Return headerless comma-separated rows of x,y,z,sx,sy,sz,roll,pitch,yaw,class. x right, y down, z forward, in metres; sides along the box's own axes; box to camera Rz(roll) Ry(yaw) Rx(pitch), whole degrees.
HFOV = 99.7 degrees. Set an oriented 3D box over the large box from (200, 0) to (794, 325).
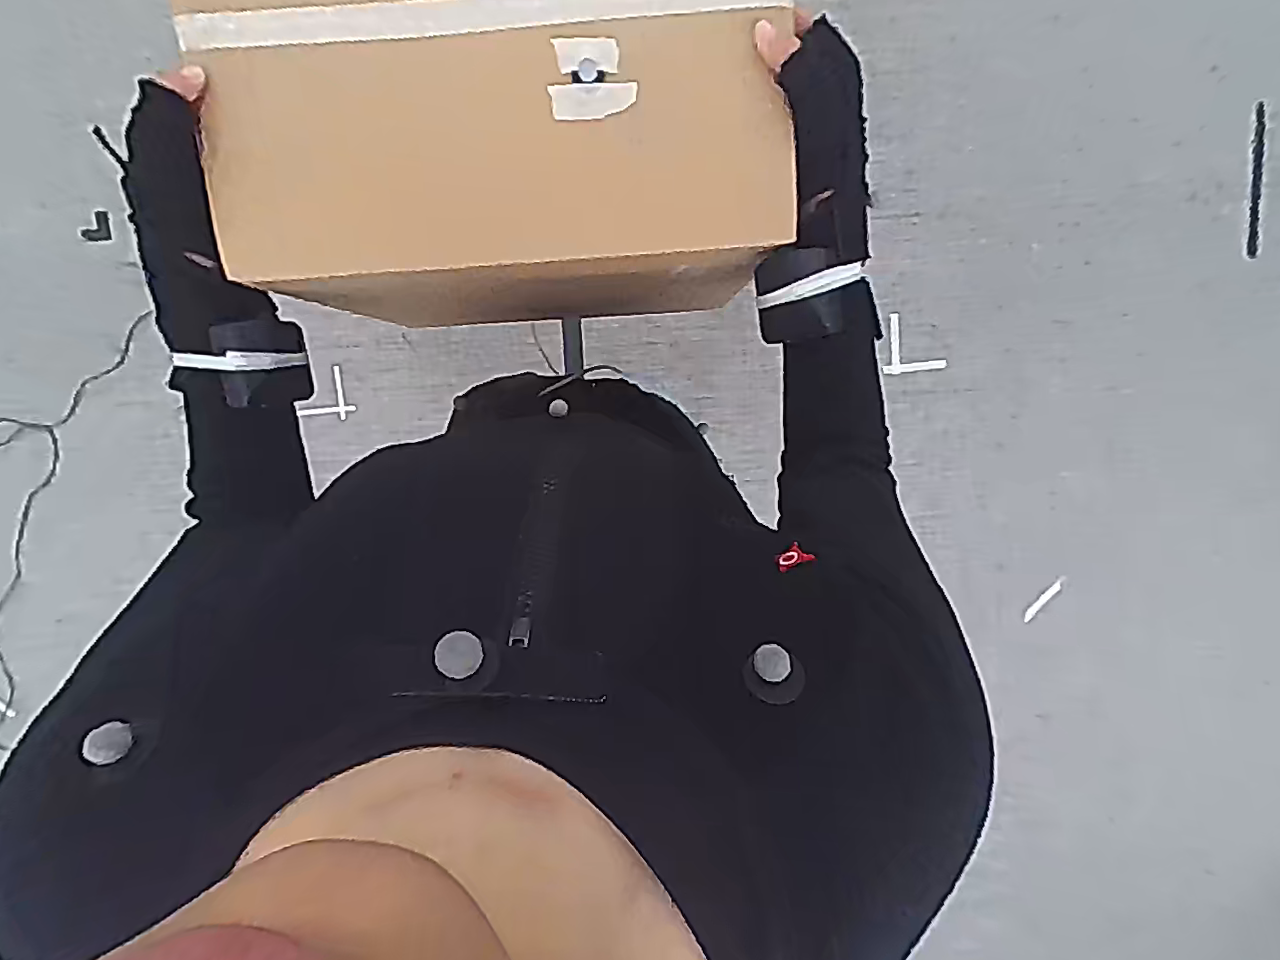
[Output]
-0.101,-0.337,0.515,0.408,0.320,0.320,-4,101,-1,large box
